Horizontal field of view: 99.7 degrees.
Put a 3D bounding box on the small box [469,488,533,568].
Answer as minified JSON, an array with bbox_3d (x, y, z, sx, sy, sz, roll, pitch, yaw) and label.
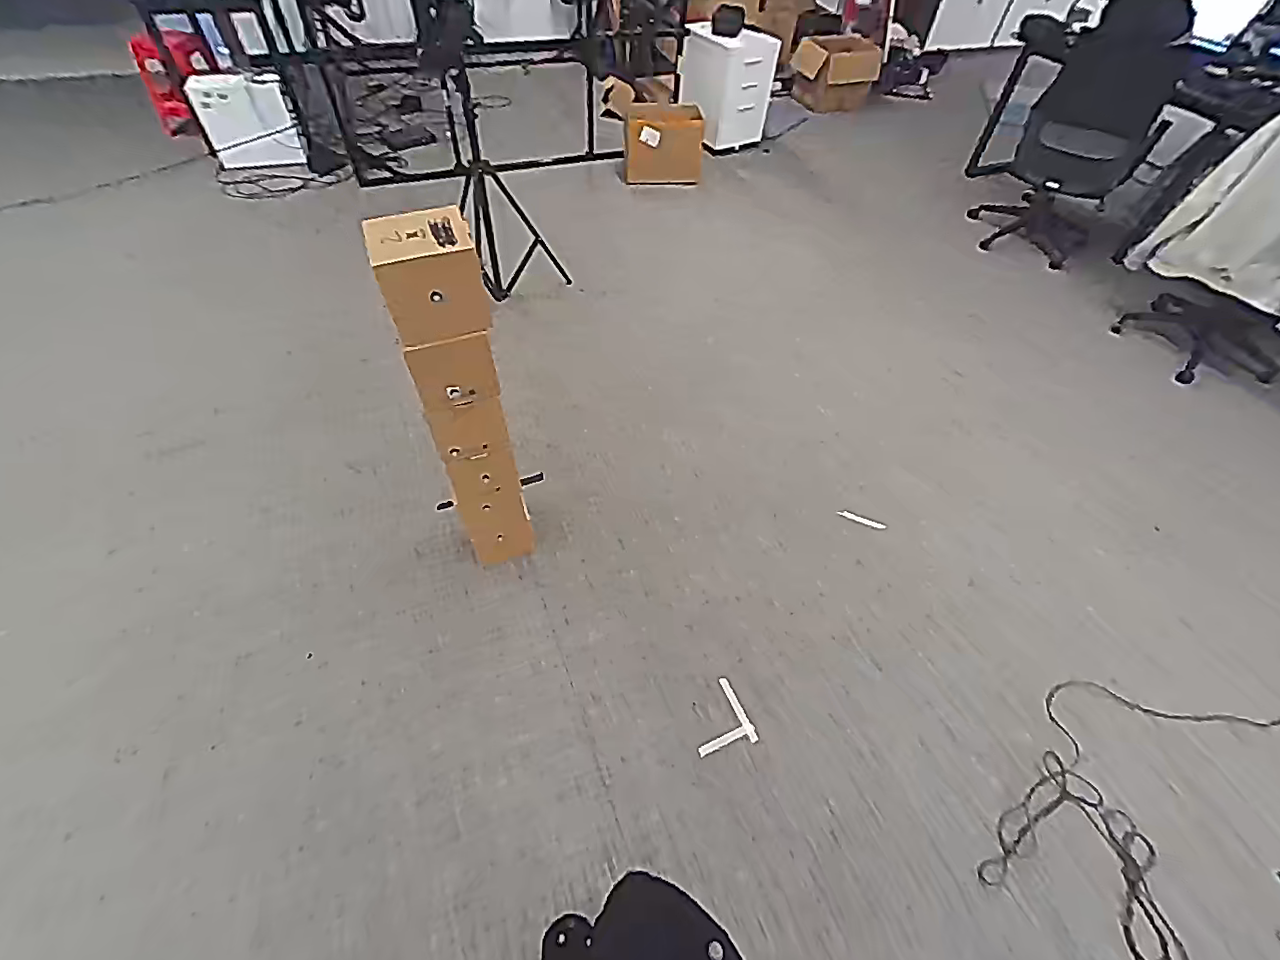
[{"bbox_3d":[-0.433,0.142,1.652,0.179,0.176,0.168,-17,55,-16],"label":"small box"}]

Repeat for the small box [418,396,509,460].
[{"bbox_3d":[-0.414,-0.165,1.268,0.168,0.176,0.179,-16,53,-15],"label":"small box"}]

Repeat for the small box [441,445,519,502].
[{"bbox_3d":[-0.417,-0.062,1.396,0.168,0.176,0.179,-15,55,-14],"label":"small box"}]

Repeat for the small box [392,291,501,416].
[{"bbox_3d":[-0.405,-0.266,1.142,0.168,0.176,0.179,-18,56,-15],"label":"small box"}]

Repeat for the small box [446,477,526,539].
[{"bbox_3d":[-0.431,0.044,1.519,0.179,0.176,0.168,-15,55,-14],"label":"small box"}]
